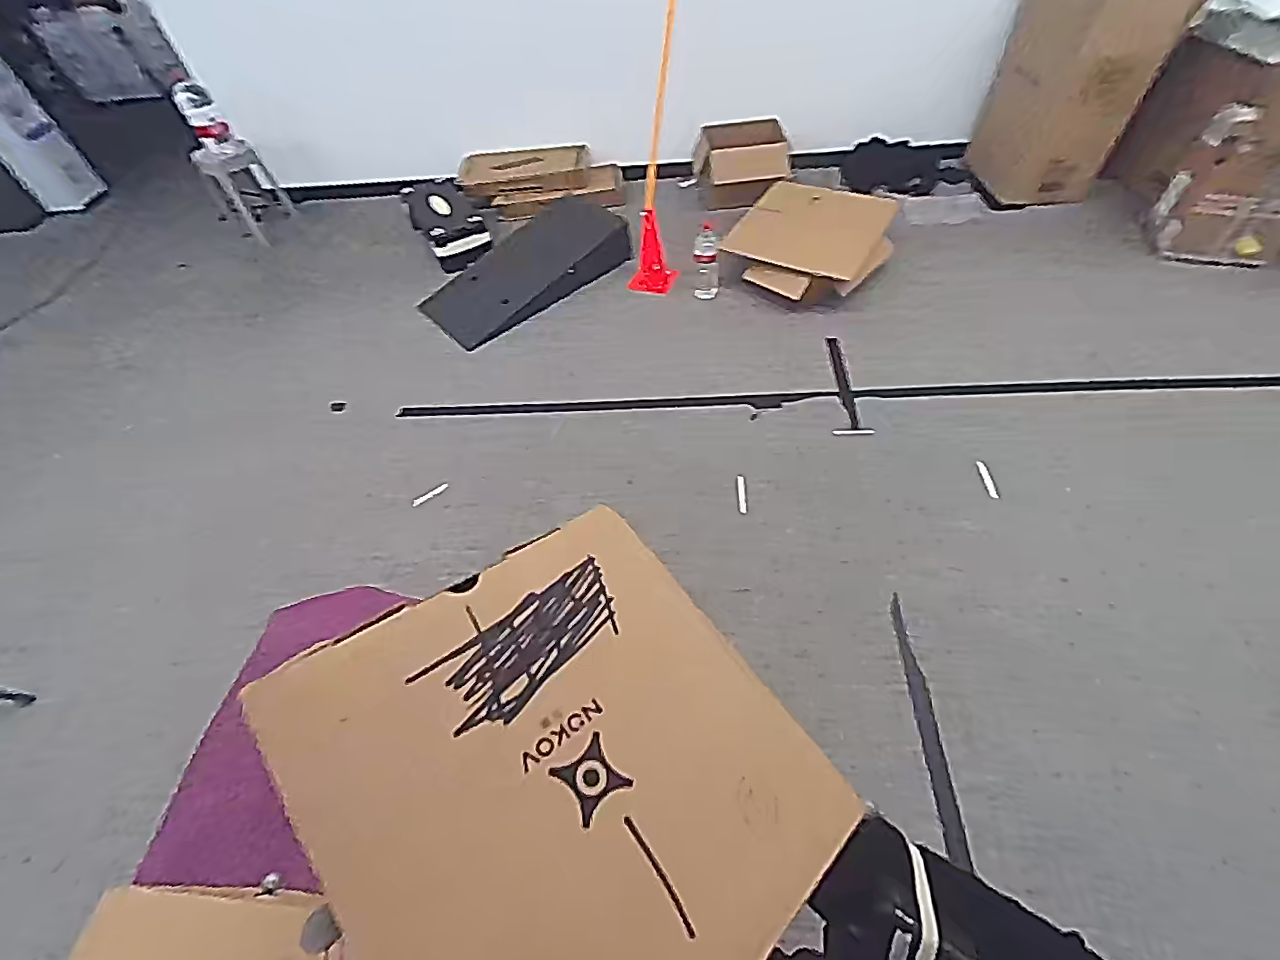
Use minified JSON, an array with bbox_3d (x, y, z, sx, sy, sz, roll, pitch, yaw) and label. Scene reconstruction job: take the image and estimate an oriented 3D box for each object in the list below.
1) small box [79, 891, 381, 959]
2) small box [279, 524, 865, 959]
[{"bbox_3d":[-0.279,0.400,0.382,0.179,0.176,0.168,0,52,6],"label":"small box"},{"bbox_3d":[-0.041,0.159,0.265,0.168,0.176,0.179,-26,64,-34],"label":"small box"}]
